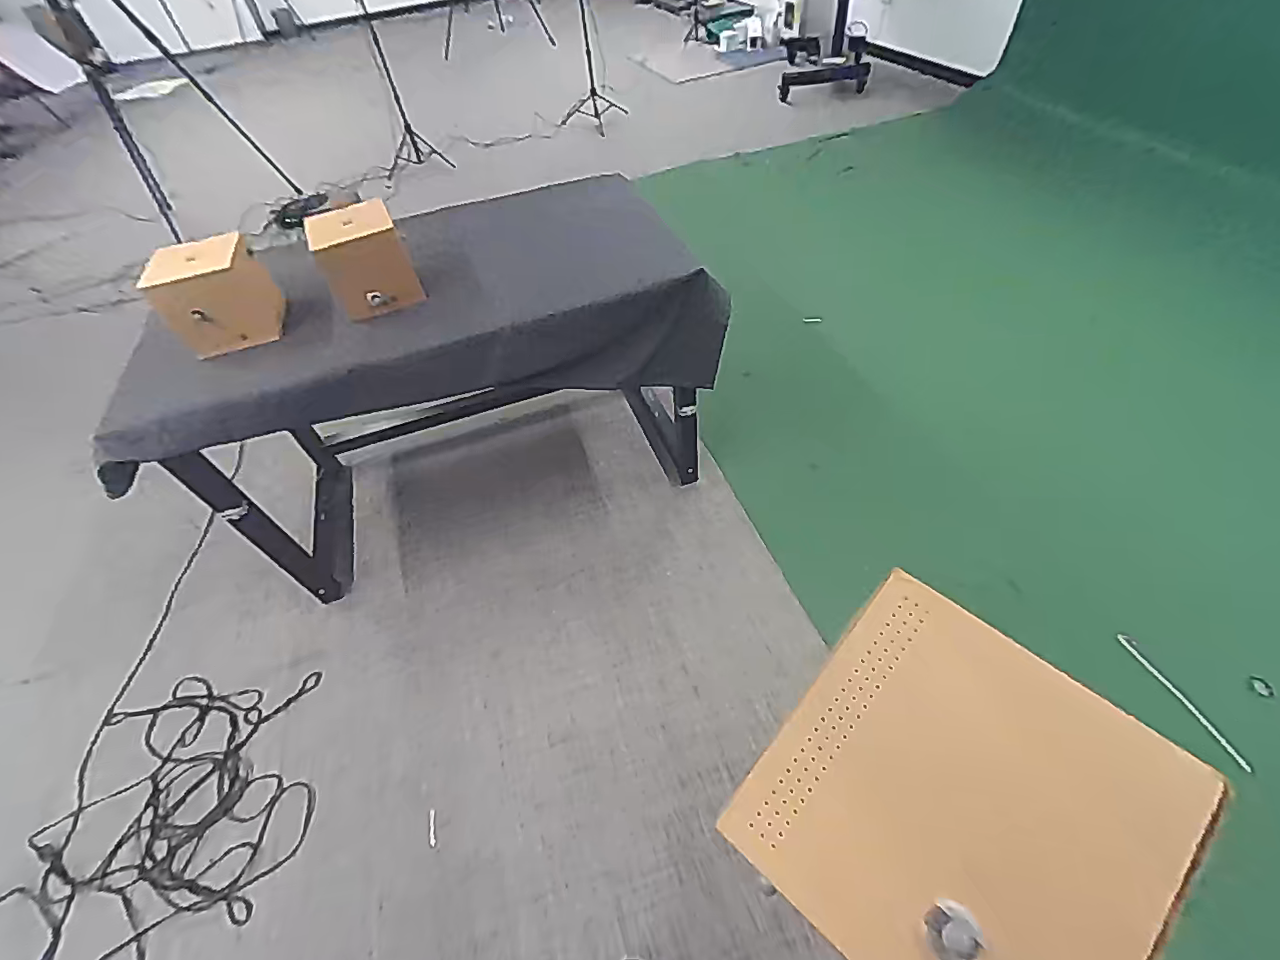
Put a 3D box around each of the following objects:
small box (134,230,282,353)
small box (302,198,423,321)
[{"bbox_3d":[-0.872,-0.380,1.112,0.168,0.176,0.179,-19,50,-10],"label":"small box"},{"bbox_3d":[-0.591,-0.472,1.160,0.168,0.176,0.179,-25,52,-13],"label":"small box"}]
